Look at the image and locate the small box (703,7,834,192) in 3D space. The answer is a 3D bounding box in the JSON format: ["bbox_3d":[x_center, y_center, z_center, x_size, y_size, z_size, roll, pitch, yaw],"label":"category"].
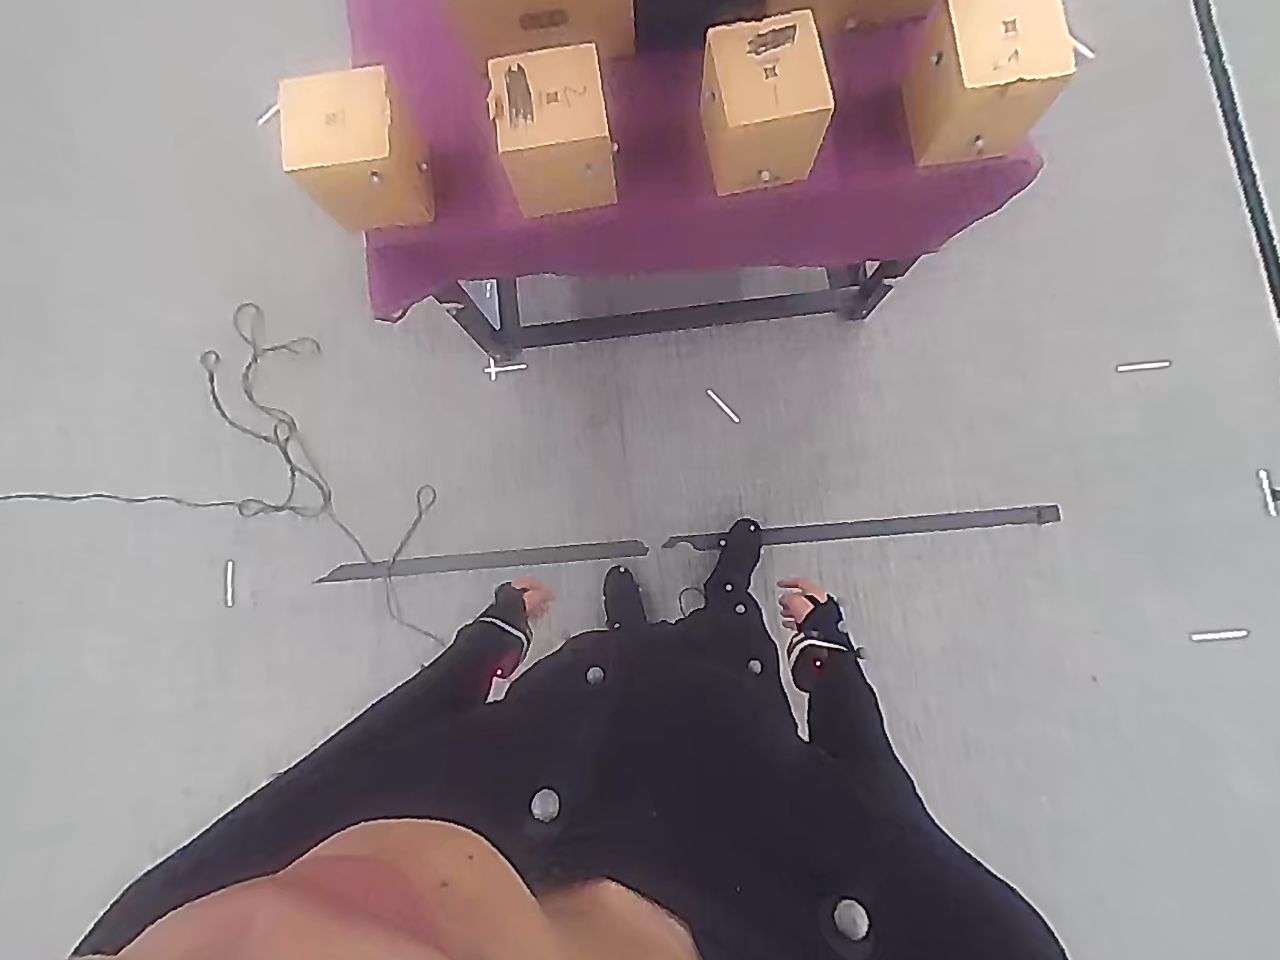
[{"bbox_3d":[0.203,-0.625,0.906,0.168,0.176,0.179,-10,84,2],"label":"small box"}]

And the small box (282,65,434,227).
[{"bbox_3d":[-0.477,-0.561,0.932,0.179,0.176,0.168,-7,83,1],"label":"small box"}]

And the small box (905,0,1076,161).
[{"bbox_3d":[0.560,-0.668,0.891,0.168,0.176,0.179,-6,83,3],"label":"small box"}]
